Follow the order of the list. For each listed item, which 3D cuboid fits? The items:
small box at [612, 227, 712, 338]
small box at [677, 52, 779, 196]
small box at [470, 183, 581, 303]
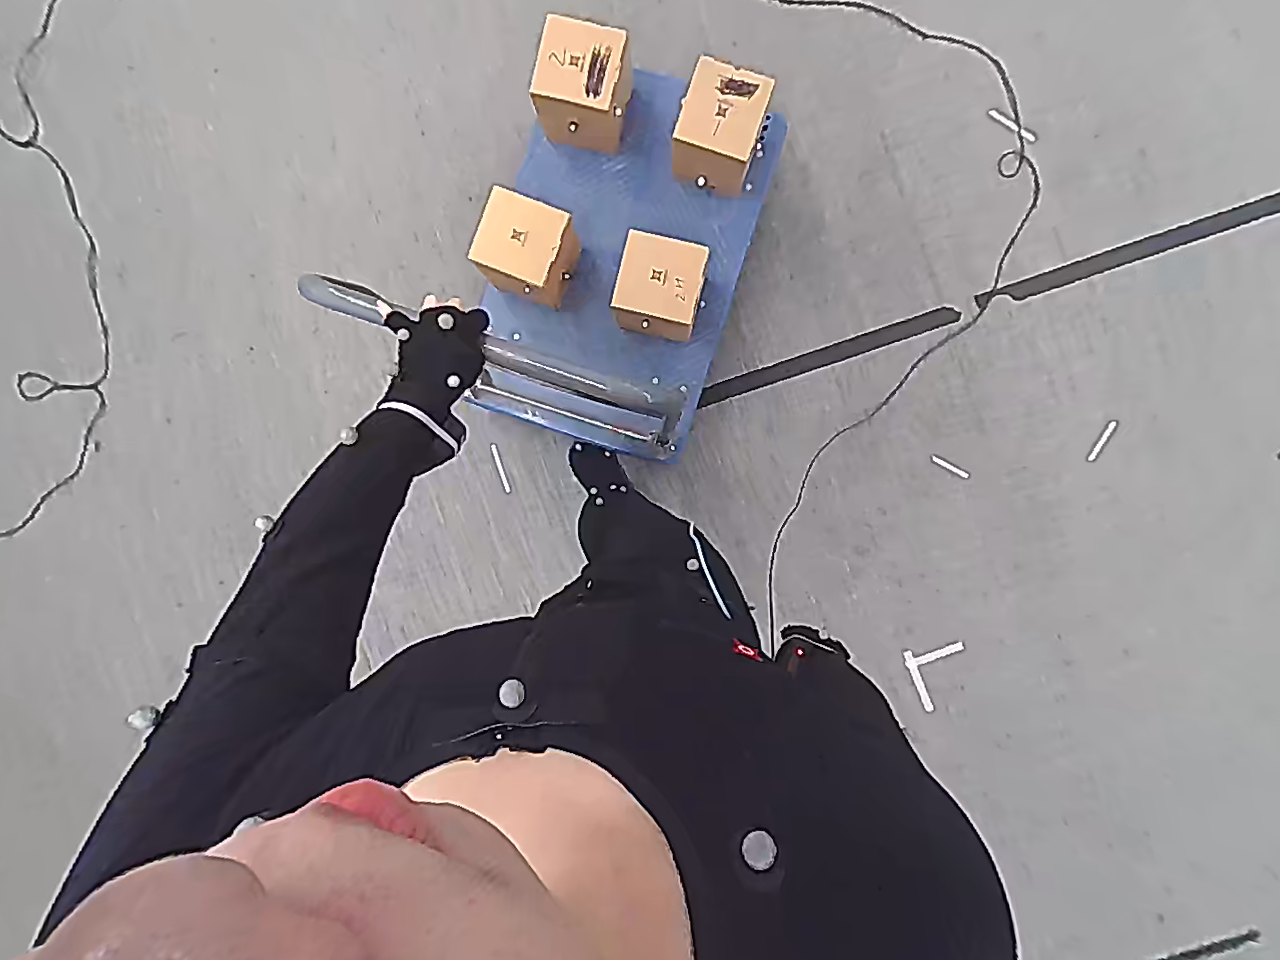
[{"bbox_3d":[0.049,-0.427,1.198,0.179,0.176,0.168,15,93,2],"label":"small box"},{"bbox_3d":[0.181,-0.766,1.181,0.168,0.176,0.179,20,94,2],"label":"small box"},{"bbox_3d":[-0.246,-0.518,1.210,0.179,0.176,0.168,21,92,0],"label":"small box"}]
